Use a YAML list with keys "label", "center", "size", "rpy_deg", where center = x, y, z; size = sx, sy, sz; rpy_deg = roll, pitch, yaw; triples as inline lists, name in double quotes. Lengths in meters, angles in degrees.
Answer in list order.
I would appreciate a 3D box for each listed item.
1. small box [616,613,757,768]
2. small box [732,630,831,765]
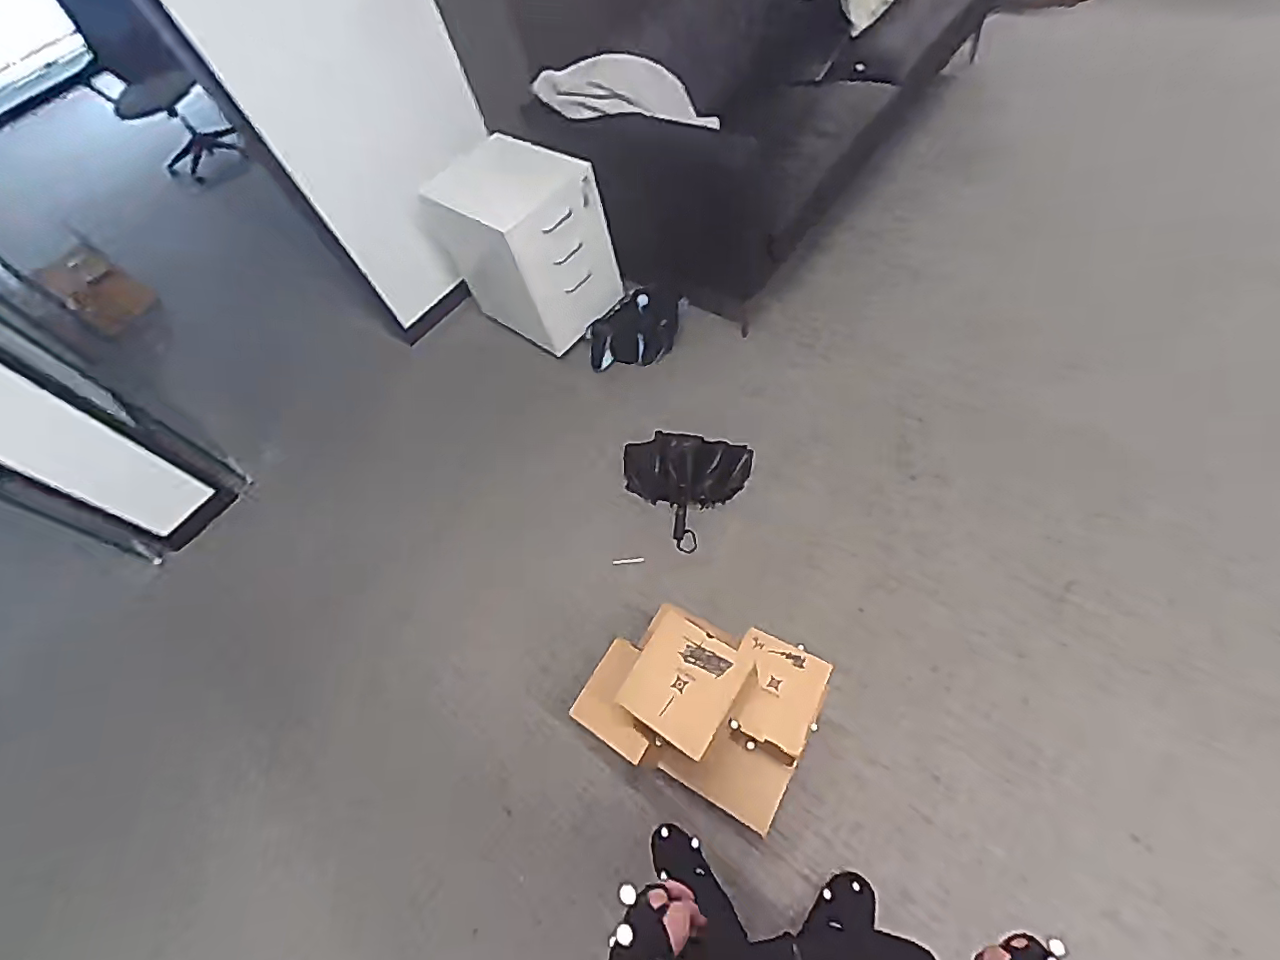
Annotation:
- label: "small box"
  center: [0.088, 0.363, 0.928]
  size: [0.168, 0.176, 0.179]
  rpy_deg: [27, 70, 27]
- label: "small box"
  center: [0.255, 0.425, 1.047]
  size: [0.168, 0.176, 0.179]
  rpy_deg: [22, 66, 24]
